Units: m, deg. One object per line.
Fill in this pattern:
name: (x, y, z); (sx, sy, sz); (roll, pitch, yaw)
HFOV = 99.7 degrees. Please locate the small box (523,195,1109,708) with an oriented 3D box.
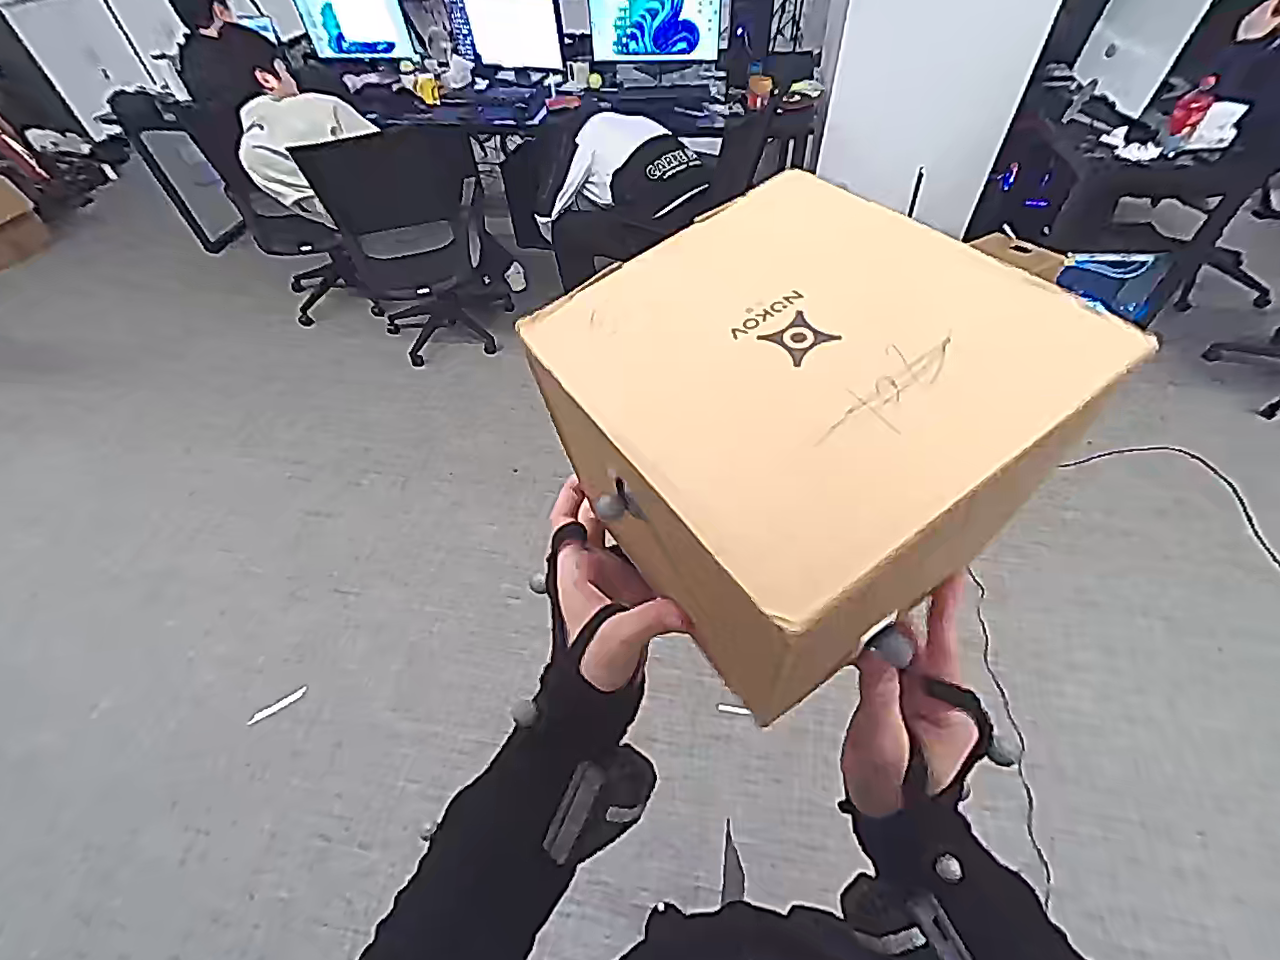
small box: (0.070, -0.008, 0.290); (0.168, 0.176, 0.179); (-37, 59, -11)
